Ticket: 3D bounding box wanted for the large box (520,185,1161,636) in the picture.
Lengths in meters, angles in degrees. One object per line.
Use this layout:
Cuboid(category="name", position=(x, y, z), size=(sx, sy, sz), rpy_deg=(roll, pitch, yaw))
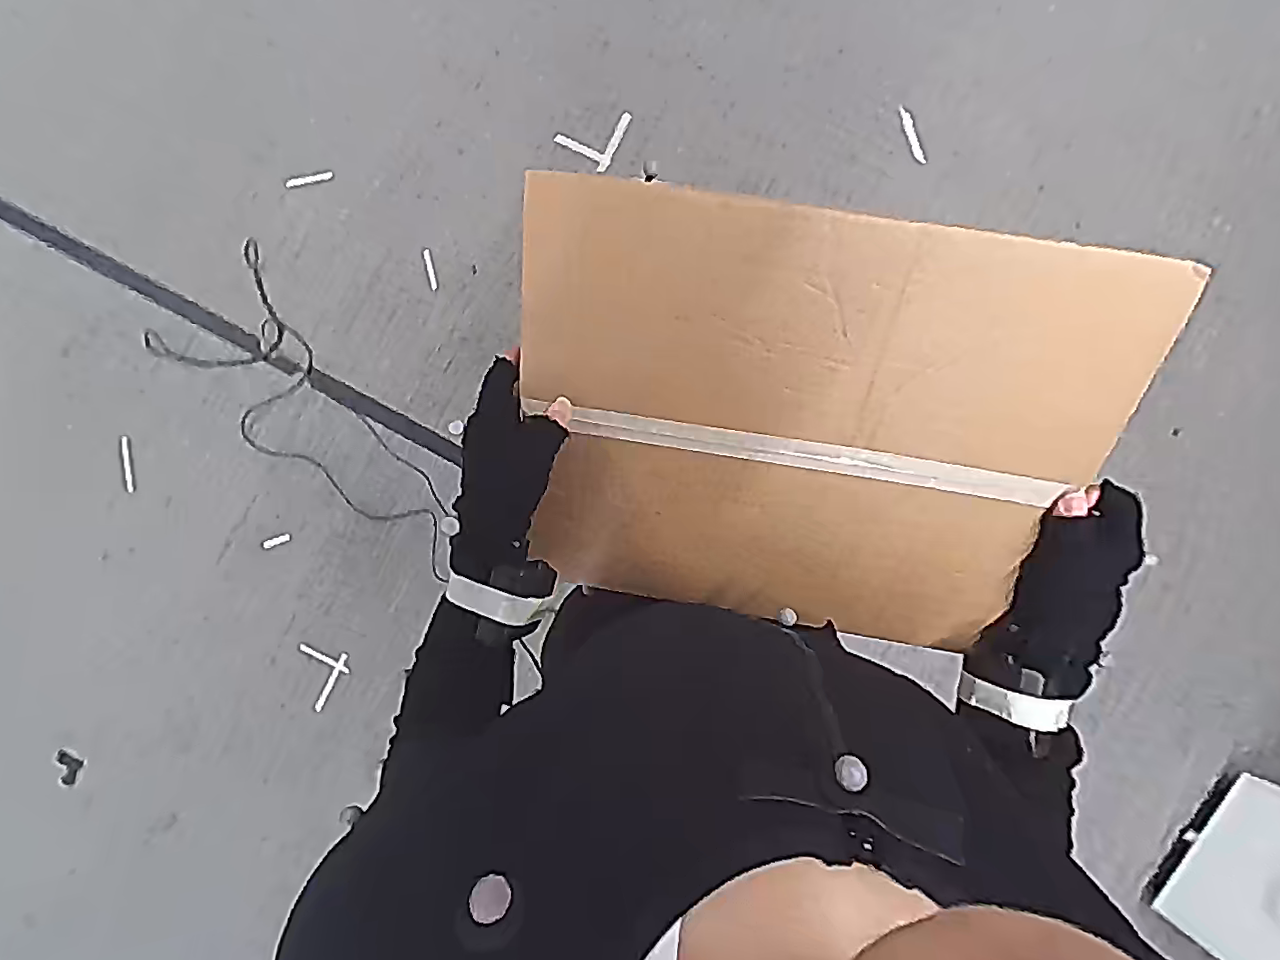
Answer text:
Cuboid(category="large box", position=(0.120, -0.094, 0.536), size=(0.408, 0.320, 0.320), rpy_deg=(9, 119, 3))
